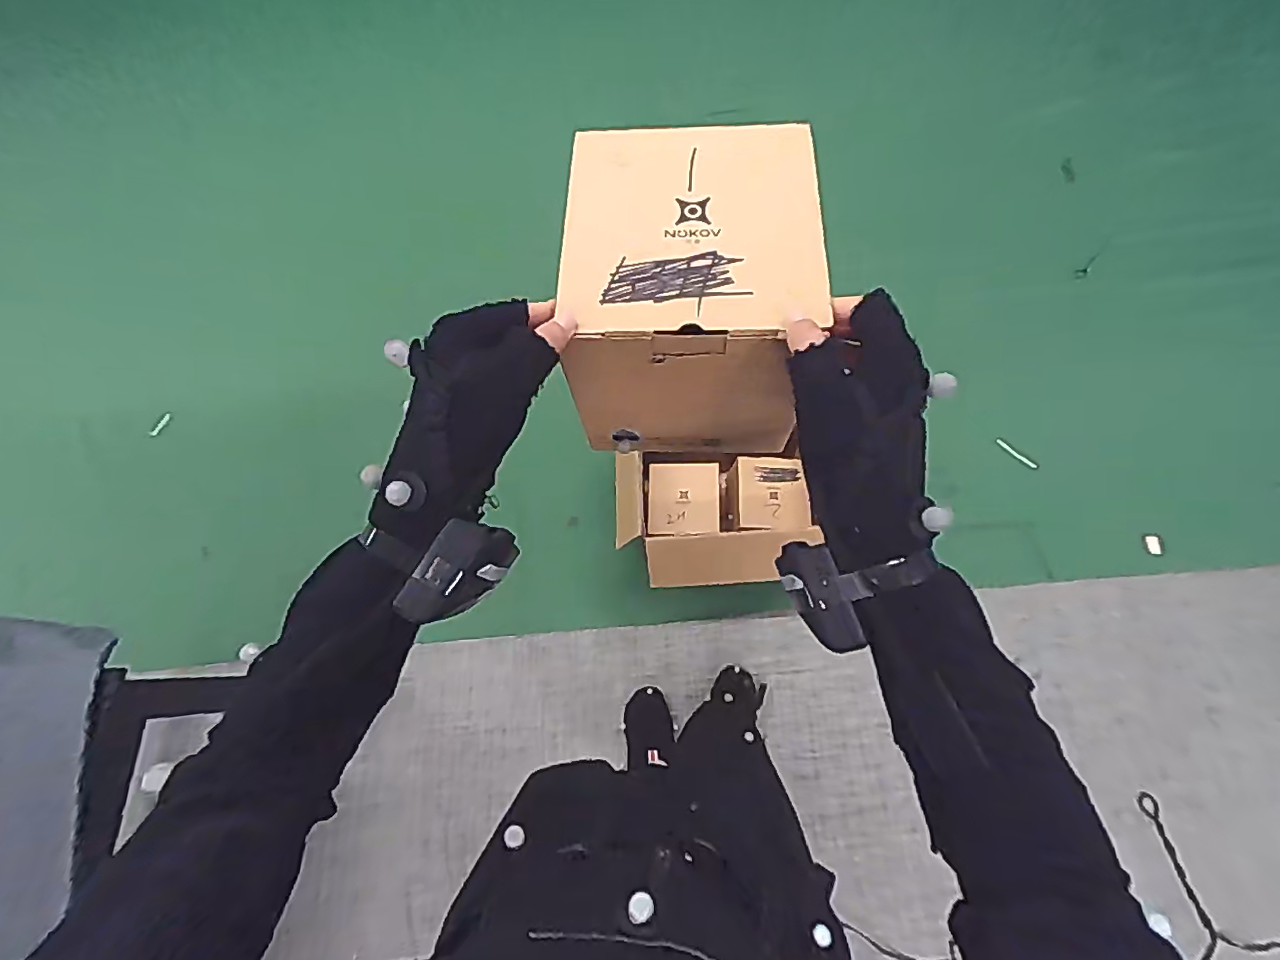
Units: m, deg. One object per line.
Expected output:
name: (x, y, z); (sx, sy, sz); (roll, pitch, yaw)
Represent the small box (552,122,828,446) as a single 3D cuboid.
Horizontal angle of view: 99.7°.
small box: (0.038, -0.135, 0.420); (0.168, 0.176, 0.179); (1, 68, 5)
